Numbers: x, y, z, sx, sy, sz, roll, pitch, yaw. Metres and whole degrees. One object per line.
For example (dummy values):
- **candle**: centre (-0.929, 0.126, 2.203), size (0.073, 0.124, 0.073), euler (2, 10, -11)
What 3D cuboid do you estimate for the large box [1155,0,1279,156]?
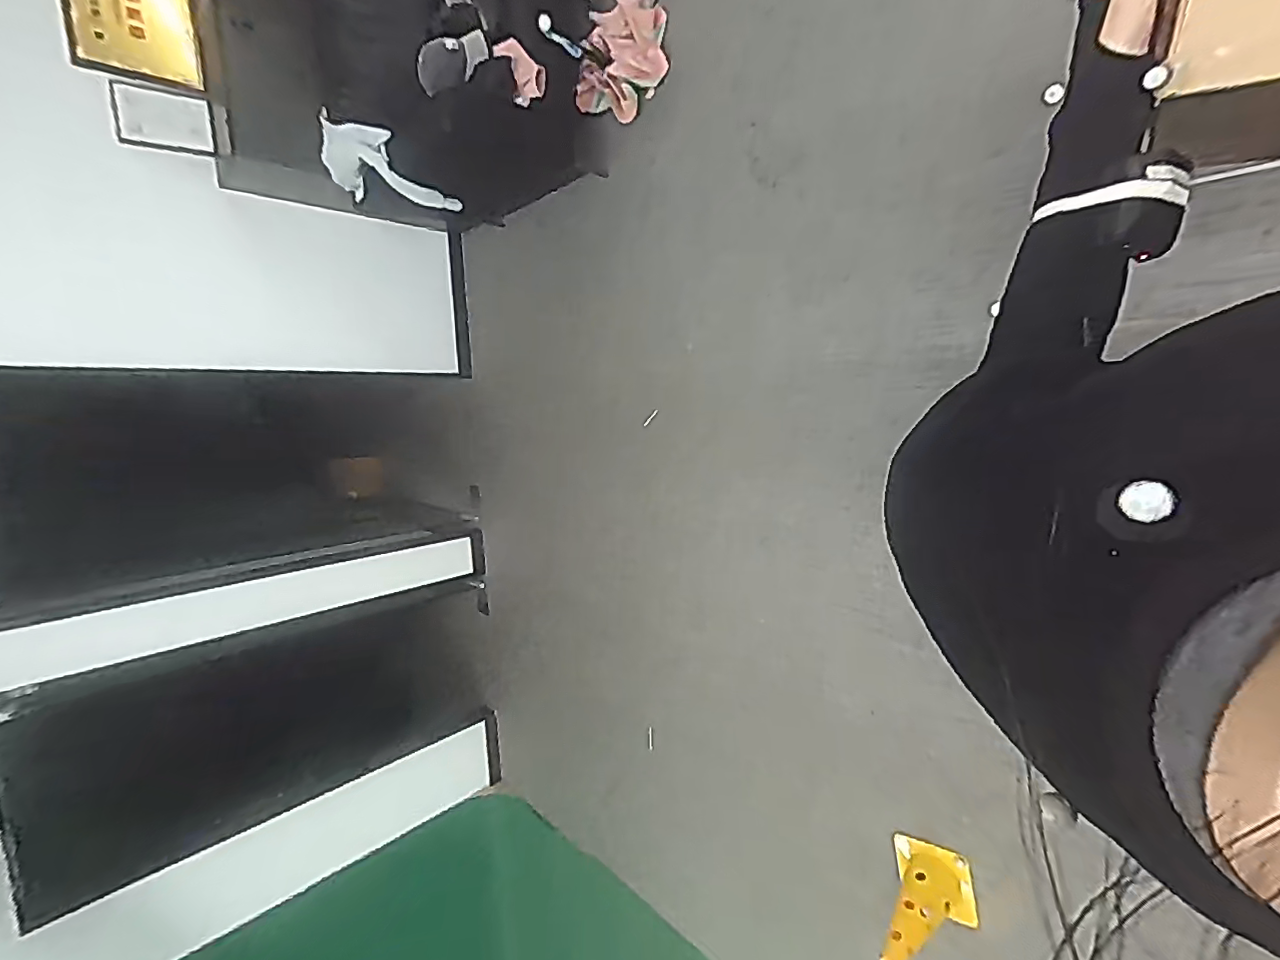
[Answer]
- **large box**: centre (0.601, -0.411, 0.303), size (0.408, 0.320, 0.320), euler (15, 114, 39)
